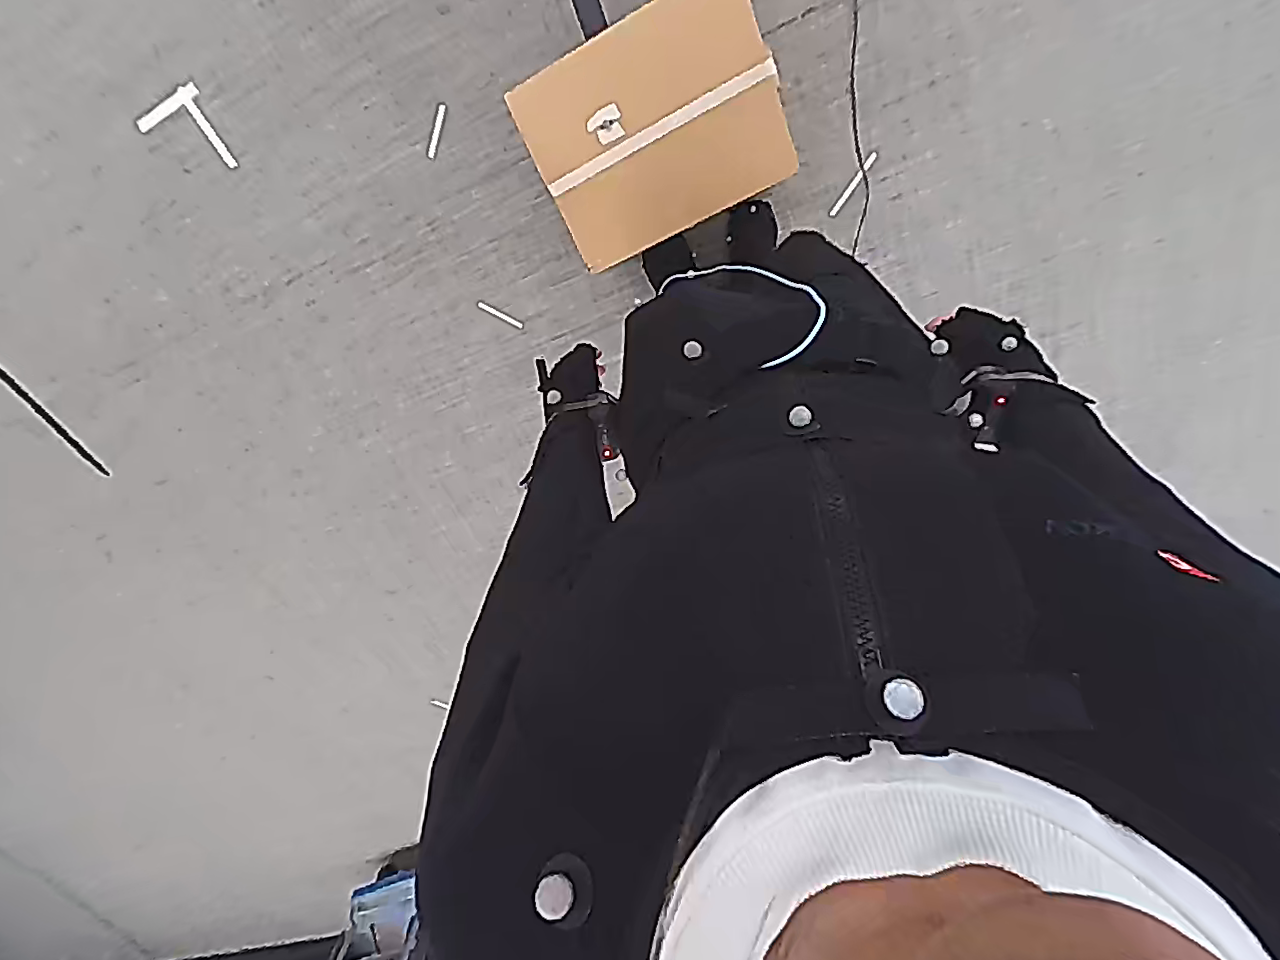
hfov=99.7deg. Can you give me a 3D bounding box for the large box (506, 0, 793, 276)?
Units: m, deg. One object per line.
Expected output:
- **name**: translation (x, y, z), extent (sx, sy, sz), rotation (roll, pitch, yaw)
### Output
- **large box**: translation (0.029, -0.647, 1.027), extent (0.408, 0.320, 0.320), rotation (-21, 116, 16)
